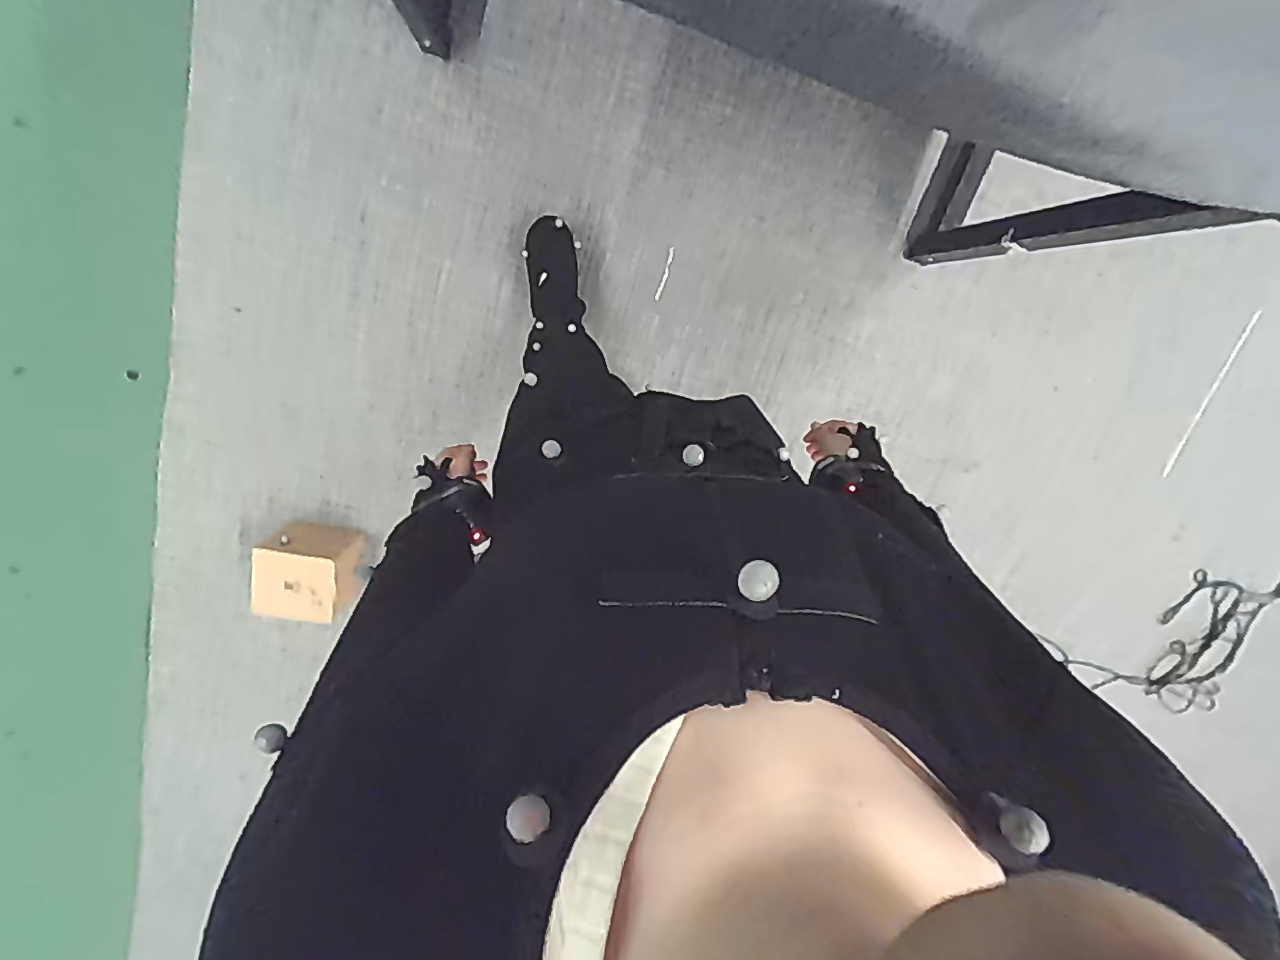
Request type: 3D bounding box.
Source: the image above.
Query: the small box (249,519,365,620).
[{"bbox_3d":[-0.778,0.203,1.274,0.179,0.176,0.168,11,107,-9],"label":"small box"}]
